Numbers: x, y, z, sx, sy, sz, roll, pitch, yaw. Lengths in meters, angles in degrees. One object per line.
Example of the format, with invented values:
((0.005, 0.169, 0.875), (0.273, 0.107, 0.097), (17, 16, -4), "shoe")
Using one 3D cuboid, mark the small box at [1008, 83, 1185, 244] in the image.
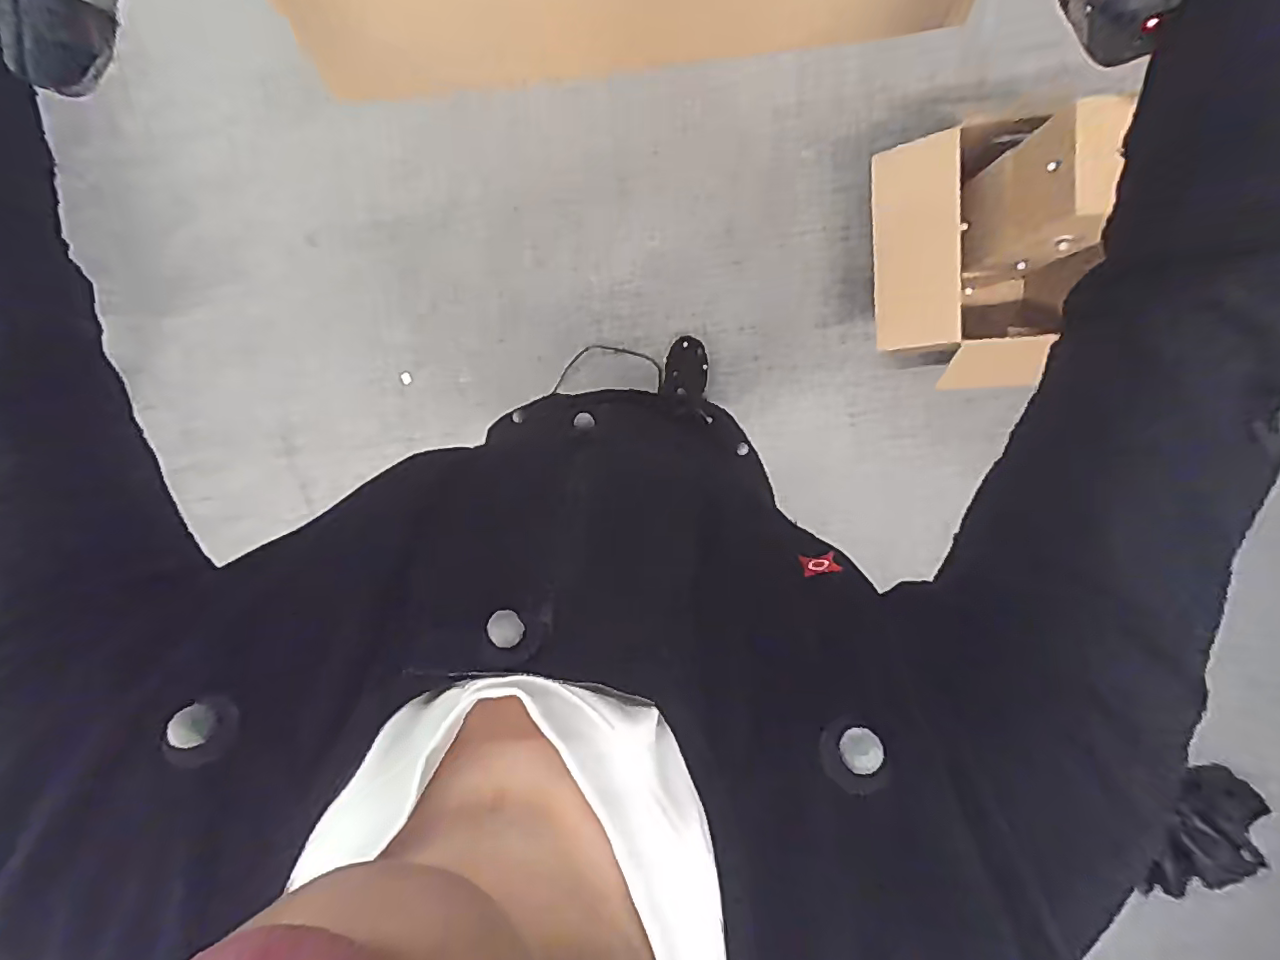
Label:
((0.754, -0.520, 0.912), (0.168, 0.176, 0.179), (-4, 96, 4), "small box")
